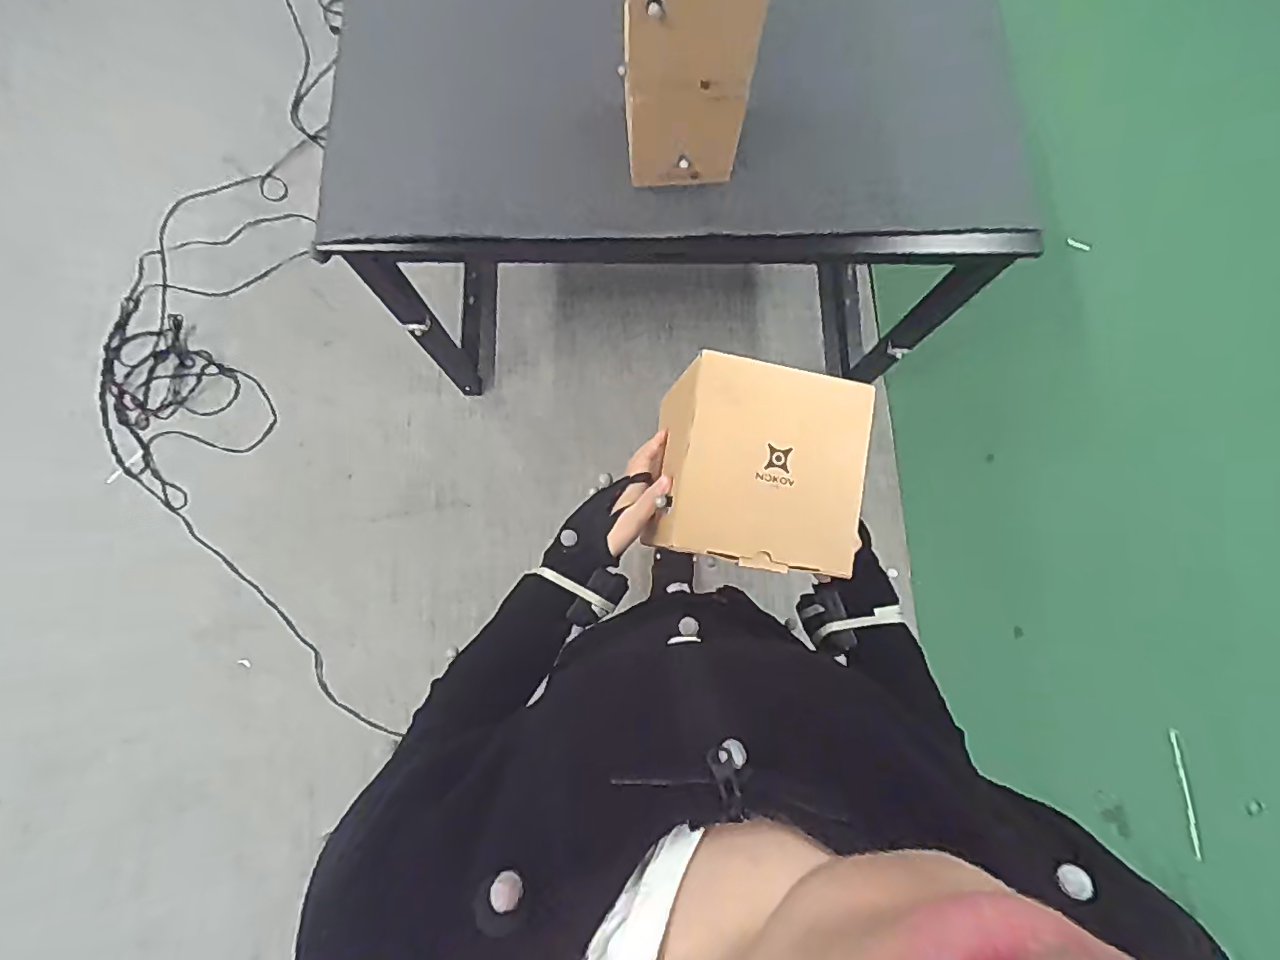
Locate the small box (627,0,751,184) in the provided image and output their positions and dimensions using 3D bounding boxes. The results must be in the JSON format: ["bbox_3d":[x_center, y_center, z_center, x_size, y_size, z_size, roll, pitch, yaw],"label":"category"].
[{"bbox_3d":[0.065,-0.596,0.840,0.168,0.176,0.179,-4,78,-1],"label":"small box"}]

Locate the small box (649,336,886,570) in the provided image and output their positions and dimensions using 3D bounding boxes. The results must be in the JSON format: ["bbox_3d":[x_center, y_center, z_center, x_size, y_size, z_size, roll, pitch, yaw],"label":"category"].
[{"bbox_3d":[0.111,-0.016,0.531,0.168,0.176,0.179,10,84,-8],"label":"small box"}]
